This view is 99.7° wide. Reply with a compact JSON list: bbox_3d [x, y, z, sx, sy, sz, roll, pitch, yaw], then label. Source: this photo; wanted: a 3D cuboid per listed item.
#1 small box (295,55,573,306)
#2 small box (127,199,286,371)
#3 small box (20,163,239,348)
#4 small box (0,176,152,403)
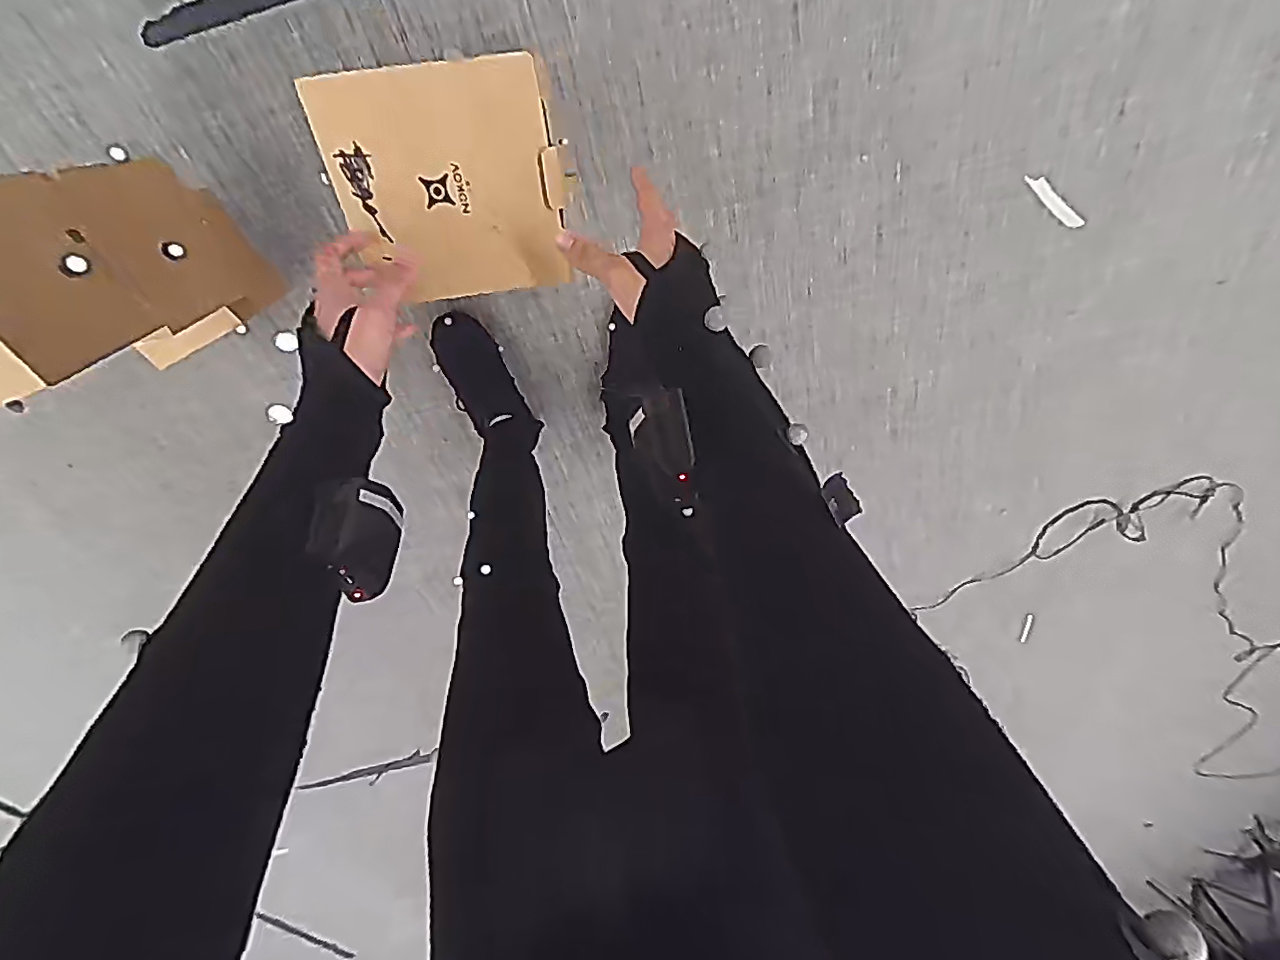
[{"bbox_3d":[-0.162,-0.273,0.494,0.179,0.176,0.168,-8,124,-3],"label":"small box"},{"bbox_3d":[-0.694,-0.301,0.816,0.168,0.176,0.179,-23,125,10],"label":"small box"},{"bbox_3d":[-0.641,-0.266,0.646,0.168,0.176,0.179,-11,126,2],"label":"small box"},{"bbox_3d":[-0.642,-0.168,0.513,0.179,0.176,0.168,-17,125,6],"label":"small box"}]
